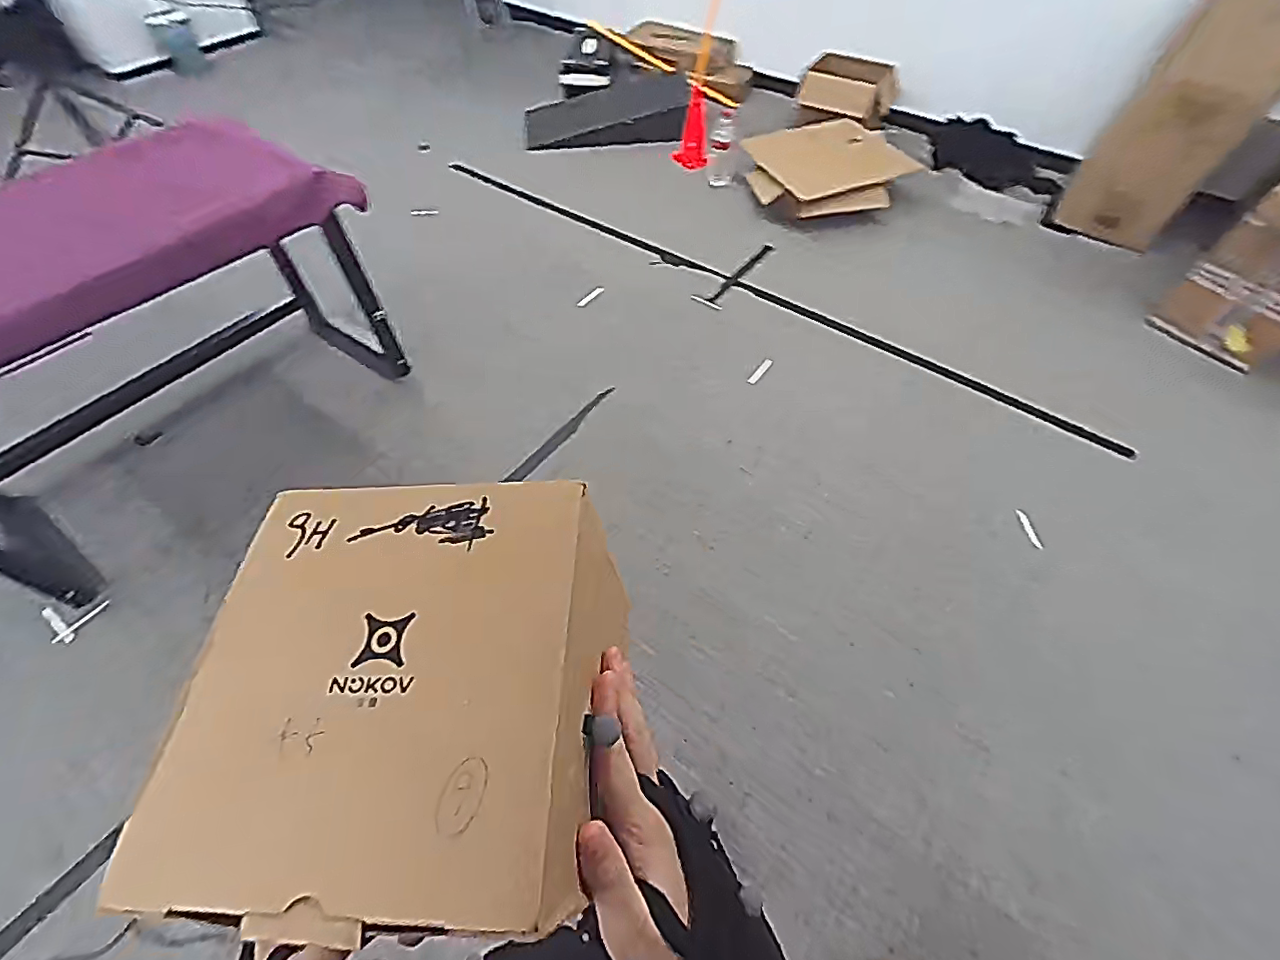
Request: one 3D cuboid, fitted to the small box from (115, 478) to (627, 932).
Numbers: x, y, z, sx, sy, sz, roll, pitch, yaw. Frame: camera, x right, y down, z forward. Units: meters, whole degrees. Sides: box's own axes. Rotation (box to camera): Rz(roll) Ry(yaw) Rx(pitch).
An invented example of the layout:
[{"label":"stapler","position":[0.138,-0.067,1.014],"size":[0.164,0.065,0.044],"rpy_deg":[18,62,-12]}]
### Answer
[{"label":"small box","position":[-0.100,0.118,0.298],"size":[0.168,0.176,0.179],"rpy_deg":[-2,58,6]}]
